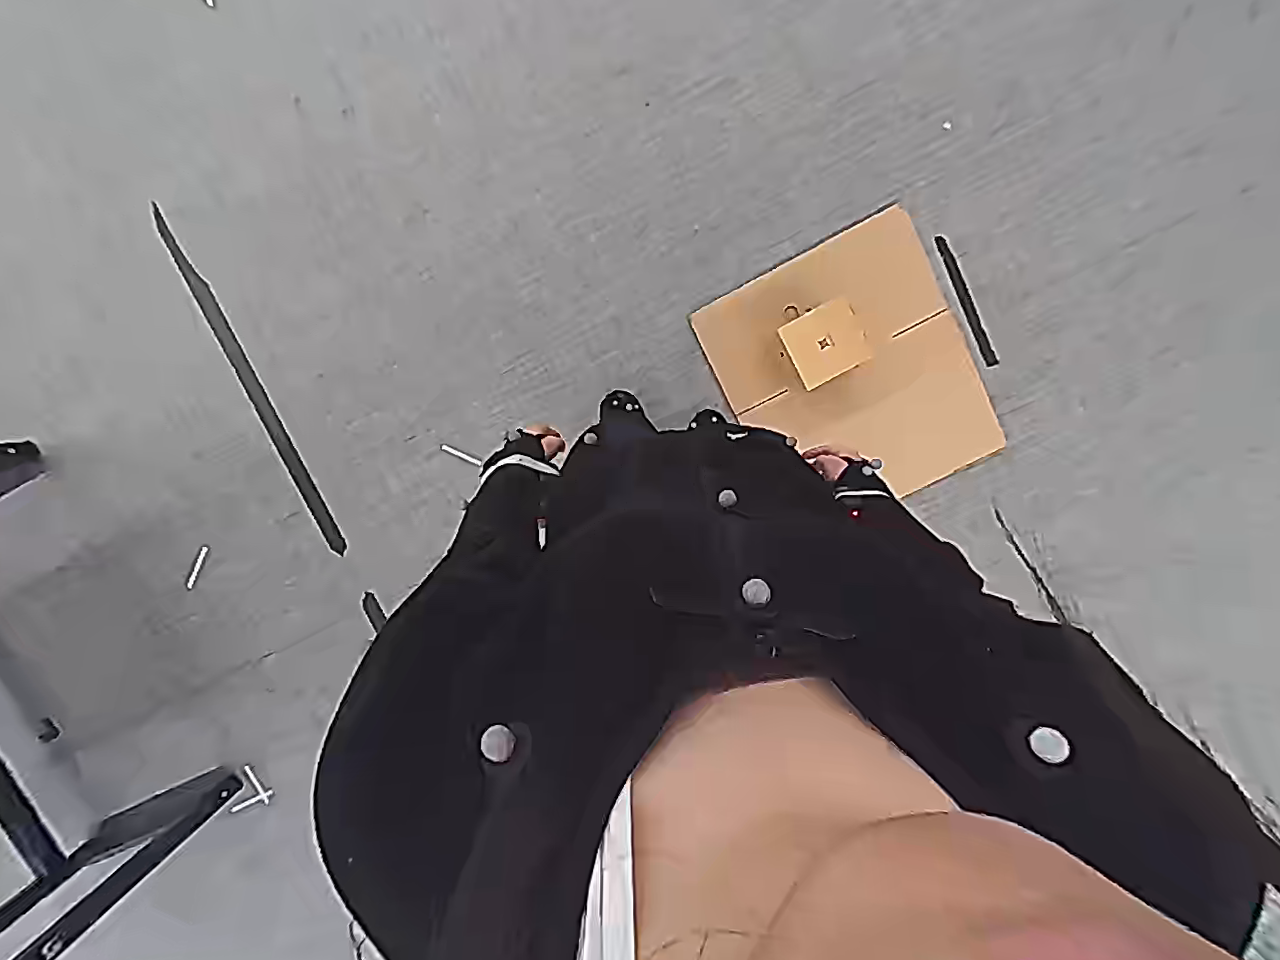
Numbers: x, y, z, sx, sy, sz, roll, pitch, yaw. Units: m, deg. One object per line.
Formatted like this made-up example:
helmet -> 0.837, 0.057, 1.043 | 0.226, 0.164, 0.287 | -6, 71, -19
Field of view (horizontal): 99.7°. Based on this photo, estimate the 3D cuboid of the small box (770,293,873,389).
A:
small box -> 0.437, -0.333, 1.340 | 0.179, 0.176, 0.168 | -29, 97, 6
